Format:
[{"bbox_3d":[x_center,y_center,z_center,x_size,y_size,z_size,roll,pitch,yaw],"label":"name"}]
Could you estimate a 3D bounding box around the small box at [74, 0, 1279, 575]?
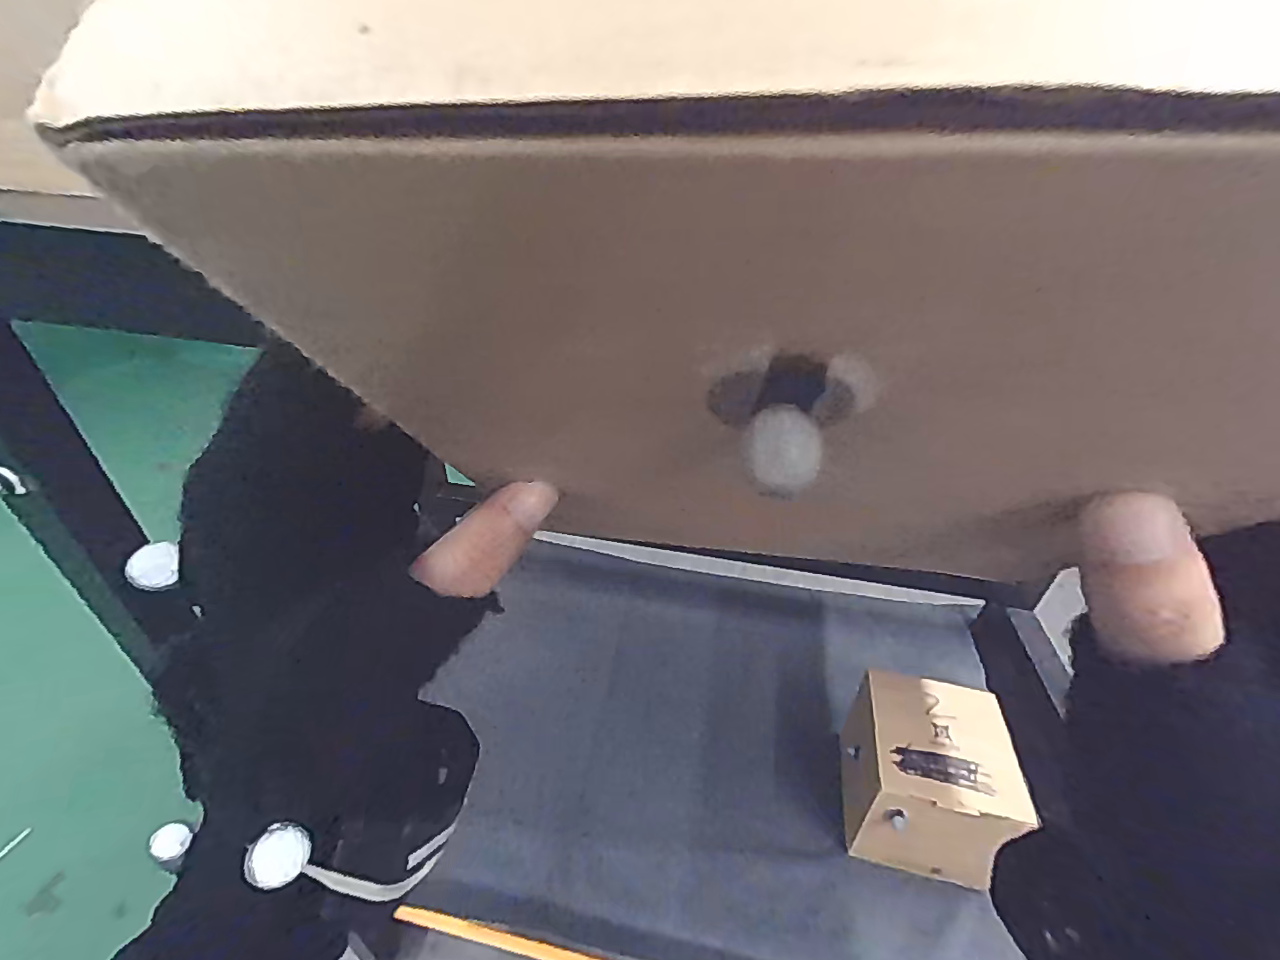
[{"bbox_3d":[0.039,-0.073,0.148,0.179,0.176,0.168,5,73,8],"label":"small box"}]
